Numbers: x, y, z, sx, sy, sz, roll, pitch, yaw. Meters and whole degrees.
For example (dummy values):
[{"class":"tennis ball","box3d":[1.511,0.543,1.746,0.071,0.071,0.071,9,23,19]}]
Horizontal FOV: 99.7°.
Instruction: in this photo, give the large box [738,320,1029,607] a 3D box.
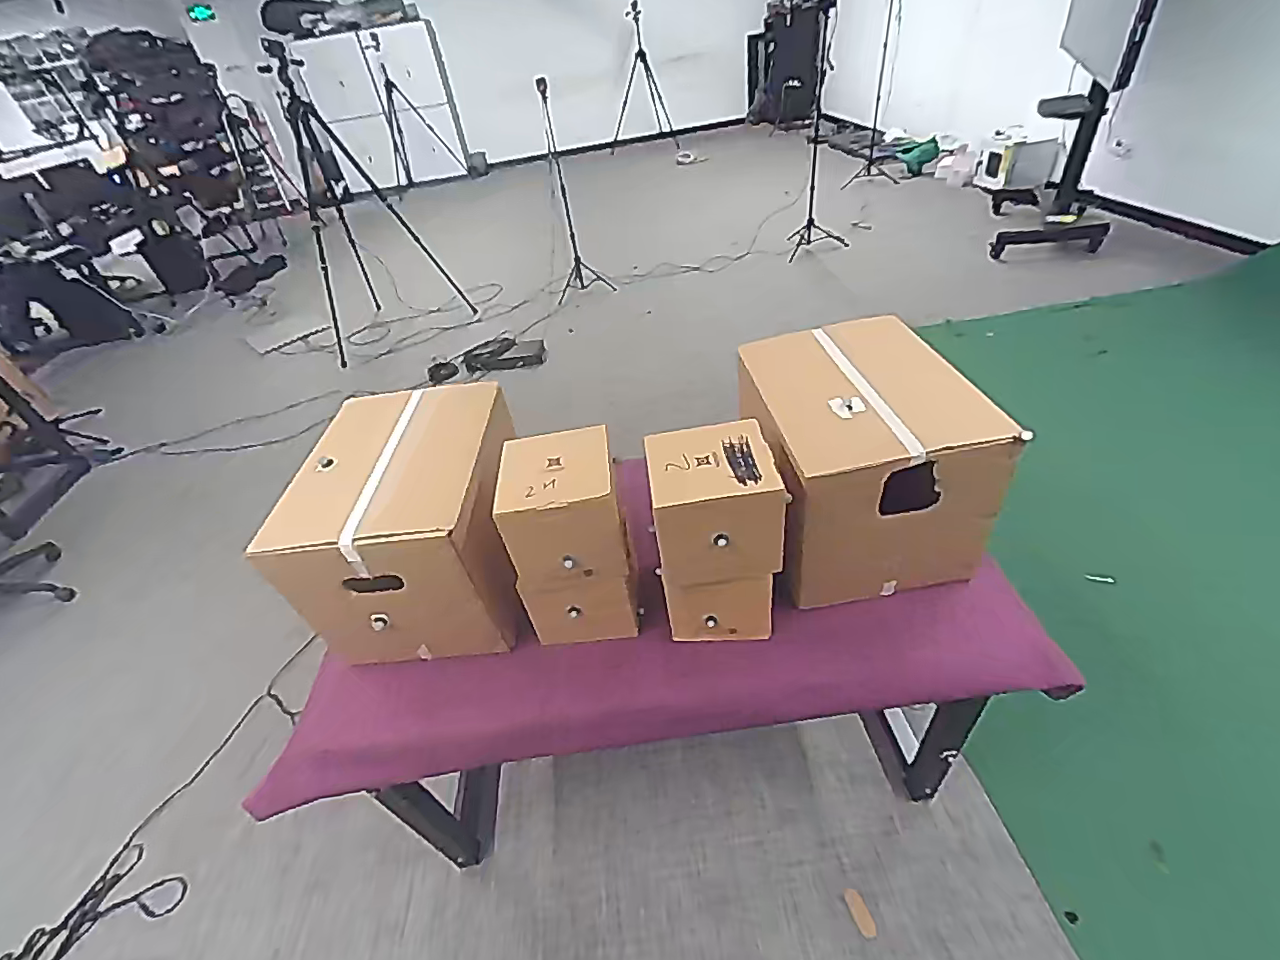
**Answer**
[{"class":"large box","box3d":[0.383,-0.042,0.985,0.320,0.320,0.408,-12,41,2]}]

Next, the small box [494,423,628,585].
[{"class":"small box","box3d":[-0.115,0.037,0.847,0.168,0.176,0.179,-10,40,2]}]
